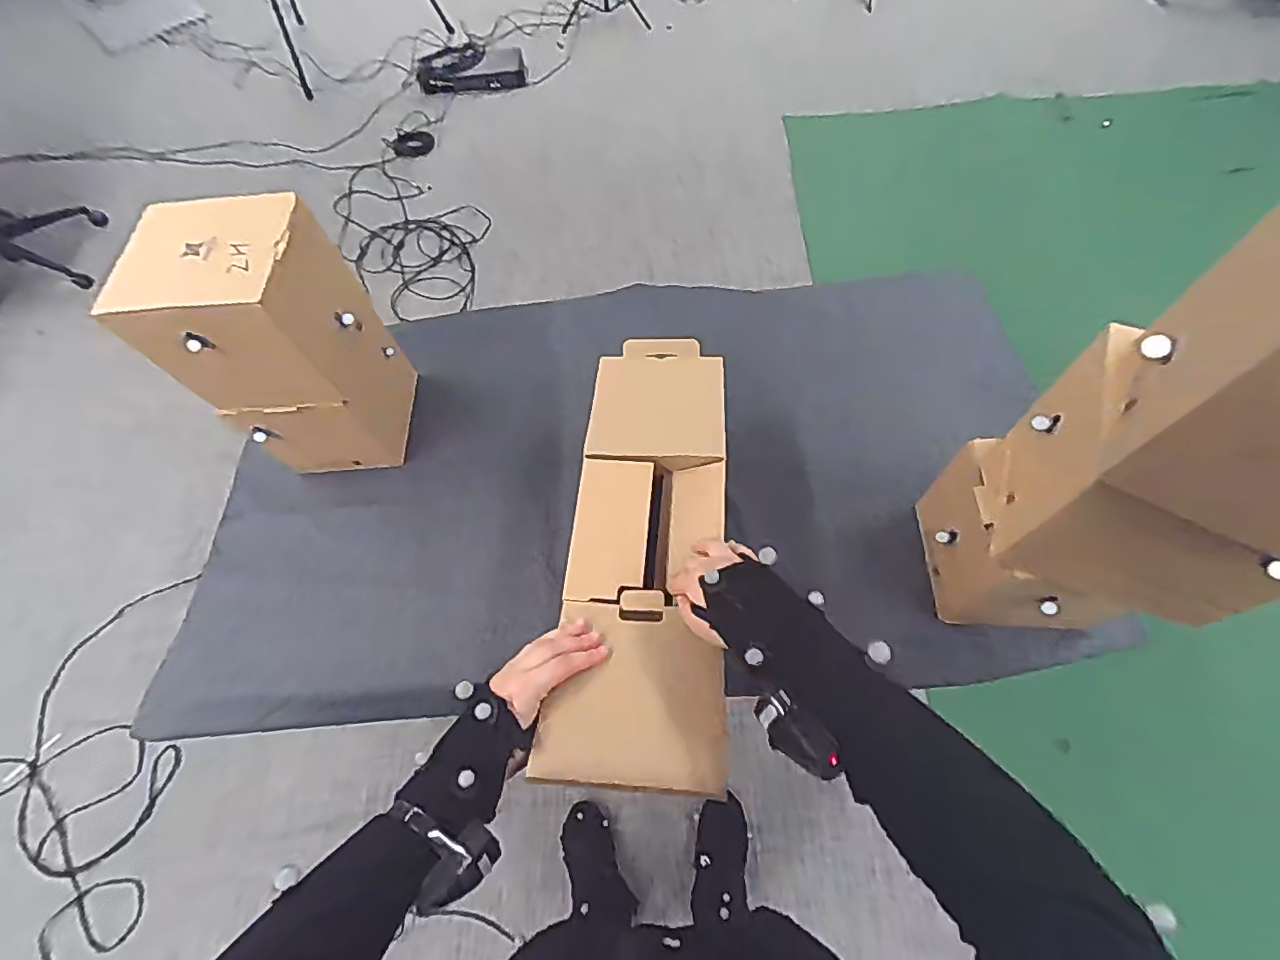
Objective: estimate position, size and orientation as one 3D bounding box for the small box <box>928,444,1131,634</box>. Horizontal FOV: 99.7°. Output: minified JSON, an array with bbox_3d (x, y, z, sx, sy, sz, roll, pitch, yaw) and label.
[{"bbox_3d":[0.455,0.073,0.620,0.179,0.176,0.168,1,61,6],"label":"small box"}]

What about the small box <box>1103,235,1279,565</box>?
[{"bbox_3d":[0.436,-0.052,0.315,0.179,0.176,0.168,30,66,19],"label":"small box"}]

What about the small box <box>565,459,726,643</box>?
[{"bbox_3d":[0.016,0.091,0.647,0.168,0.176,0.179,2,62,5],"label":"small box"}]

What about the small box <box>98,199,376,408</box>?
[{"bbox_3d":[-0.449,-0.198,0.638,0.179,0.176,0.168,-3,64,2],"label":"small box"}]

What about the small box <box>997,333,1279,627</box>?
[{"bbox_3d":[0.448,0.008,0.470,0.179,0.176,0.168,21,64,14],"label":"small box"}]
